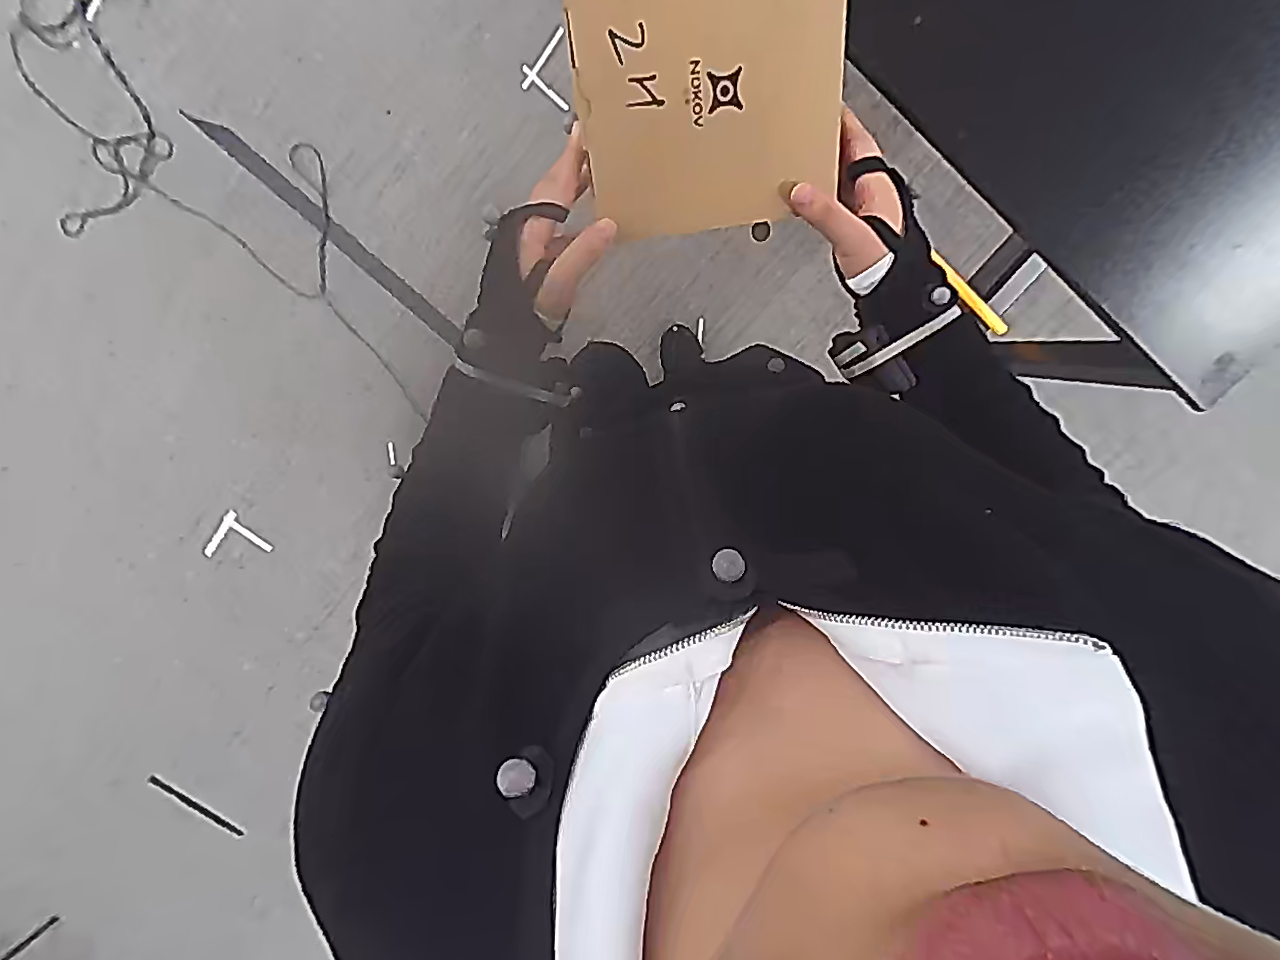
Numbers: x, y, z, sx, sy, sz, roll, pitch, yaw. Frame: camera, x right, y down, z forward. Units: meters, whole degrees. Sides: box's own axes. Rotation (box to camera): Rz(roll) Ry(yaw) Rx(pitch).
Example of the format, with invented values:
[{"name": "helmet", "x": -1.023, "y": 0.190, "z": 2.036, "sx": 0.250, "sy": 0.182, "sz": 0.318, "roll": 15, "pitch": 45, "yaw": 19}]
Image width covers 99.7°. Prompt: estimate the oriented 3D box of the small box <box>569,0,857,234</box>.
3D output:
[{"name": "small box", "x": 0.043, "y": -0.294, "z": 0.411, "sx": 0.179, "sy": 0.176, "sz": 0.168, "roll": -8, "pitch": 120, "yaw": 0}]
